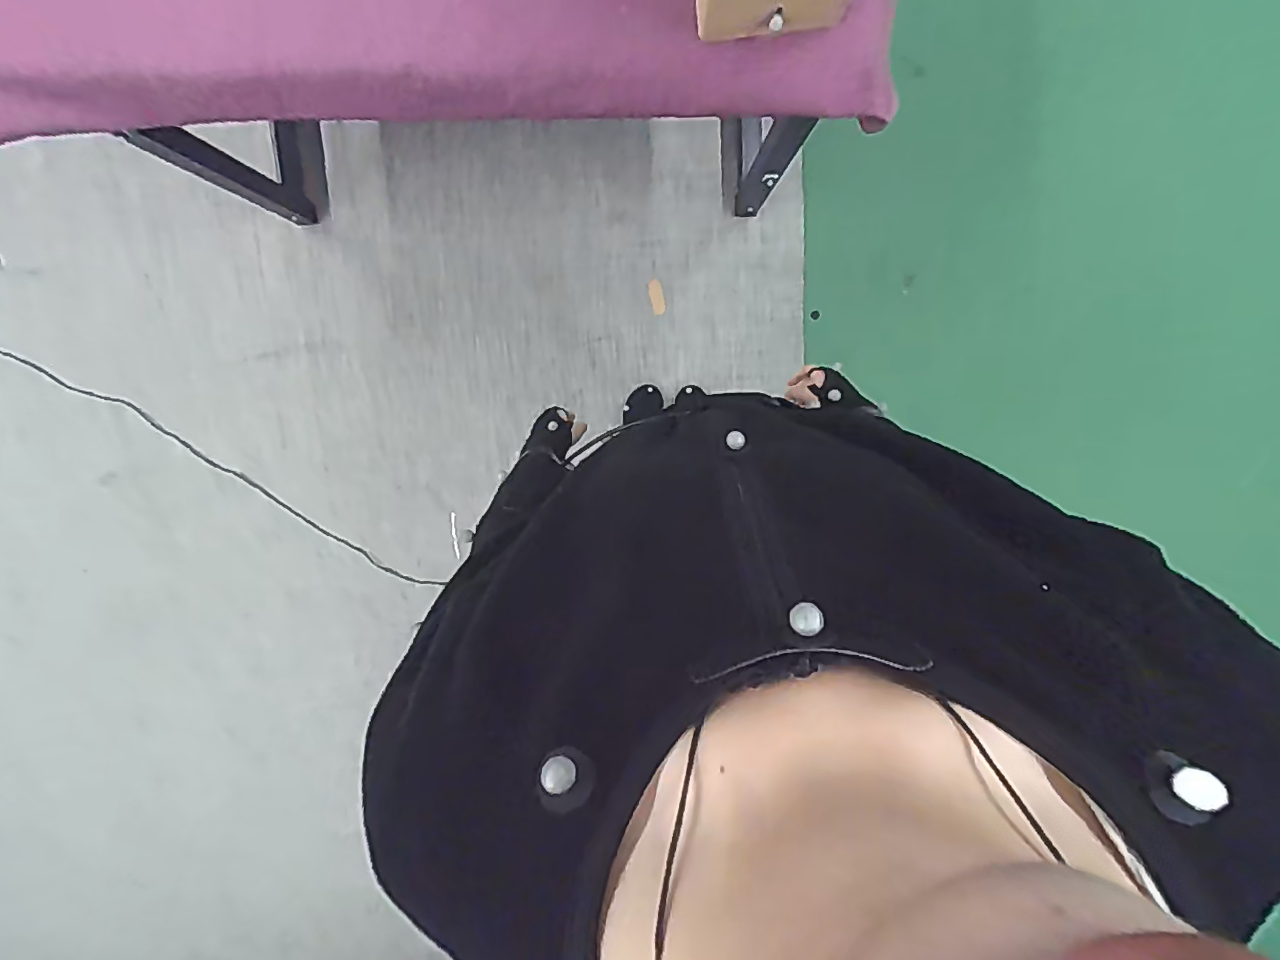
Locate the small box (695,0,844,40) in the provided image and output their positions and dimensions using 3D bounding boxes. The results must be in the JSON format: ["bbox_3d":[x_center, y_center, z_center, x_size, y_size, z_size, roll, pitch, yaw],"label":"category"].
[{"bbox_3d":[0.153,-0.623,0.585,0.179,0.176,0.168,-6,99,1],"label":"small box"}]
